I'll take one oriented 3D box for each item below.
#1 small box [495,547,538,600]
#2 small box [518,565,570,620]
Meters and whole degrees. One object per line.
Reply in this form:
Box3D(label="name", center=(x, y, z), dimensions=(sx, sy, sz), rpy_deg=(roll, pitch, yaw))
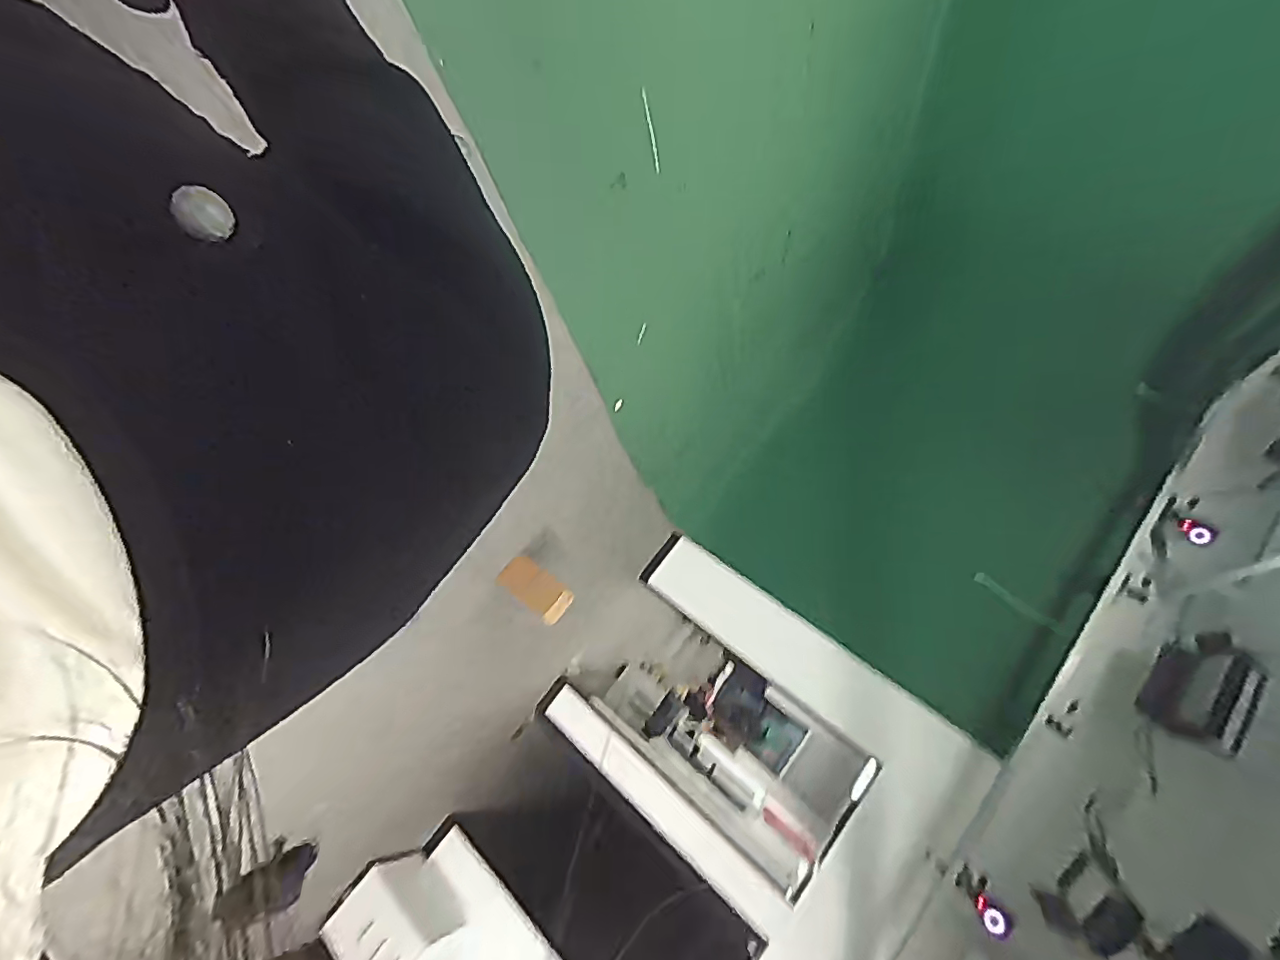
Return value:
Box3D(label="small box", center=(-0.609, 0.473, 2.737), dimensions=(0.179, 0.176, 0.168), rpy_deg=(-51, 156, -15))
Box3D(label="small box", center=(-0.482, 0.556, 2.674), dimensions=(0.179, 0.176, 0.168), rpy_deg=(-48, 155, -16))
